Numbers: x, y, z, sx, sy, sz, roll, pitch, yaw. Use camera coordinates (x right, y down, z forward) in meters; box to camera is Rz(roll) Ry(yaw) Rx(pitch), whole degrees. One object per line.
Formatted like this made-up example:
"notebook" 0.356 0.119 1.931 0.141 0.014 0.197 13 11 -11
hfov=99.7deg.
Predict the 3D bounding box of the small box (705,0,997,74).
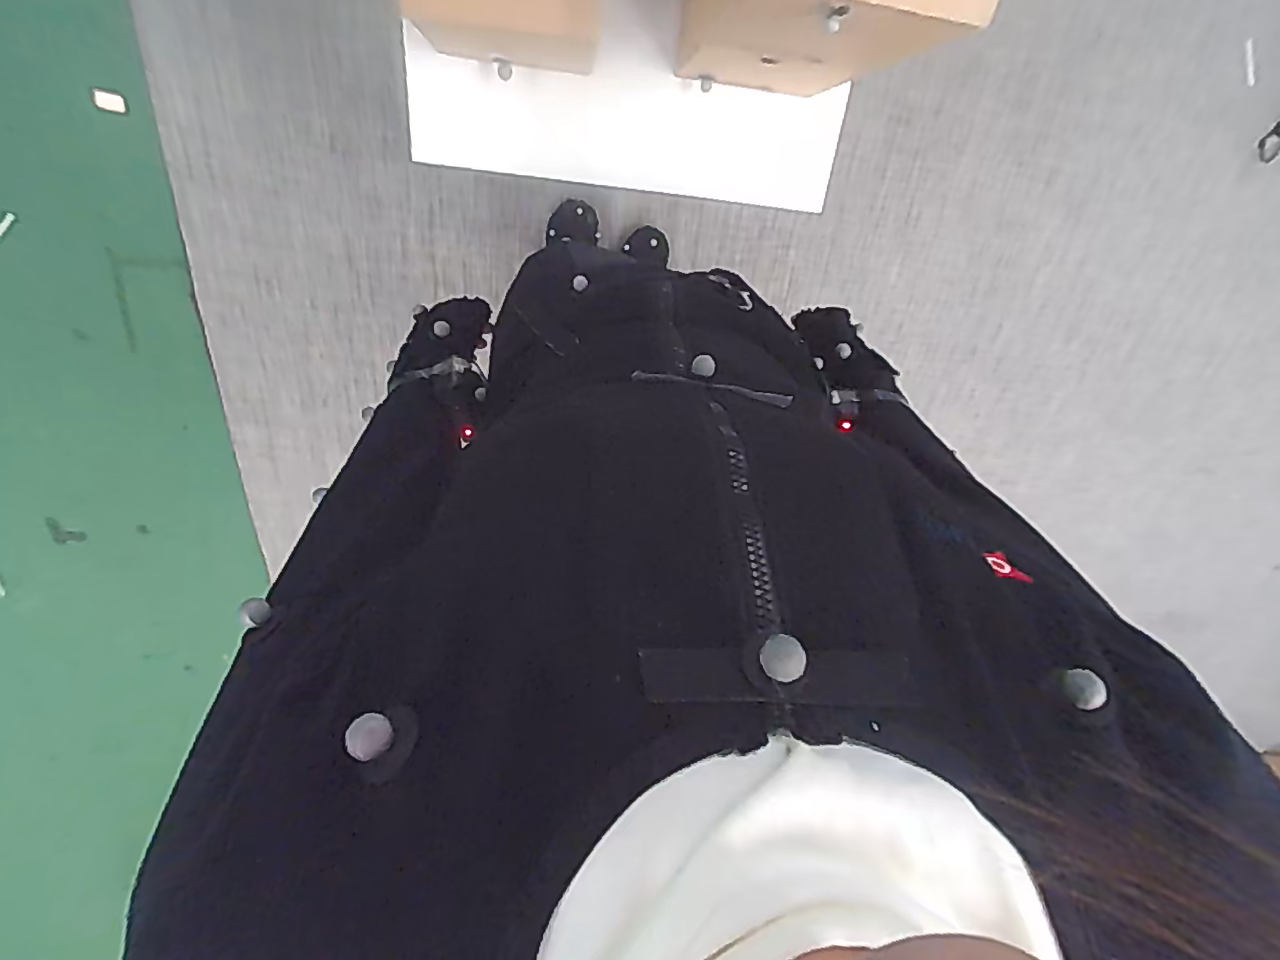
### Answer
"small box" 0.151 -0.417 0.376 0.168 0.176 0.179 3 117 -8

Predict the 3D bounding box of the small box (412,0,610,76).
"small box" -0.111 -0.496 0.491 0.168 0.176 0.179 0 119 -7
